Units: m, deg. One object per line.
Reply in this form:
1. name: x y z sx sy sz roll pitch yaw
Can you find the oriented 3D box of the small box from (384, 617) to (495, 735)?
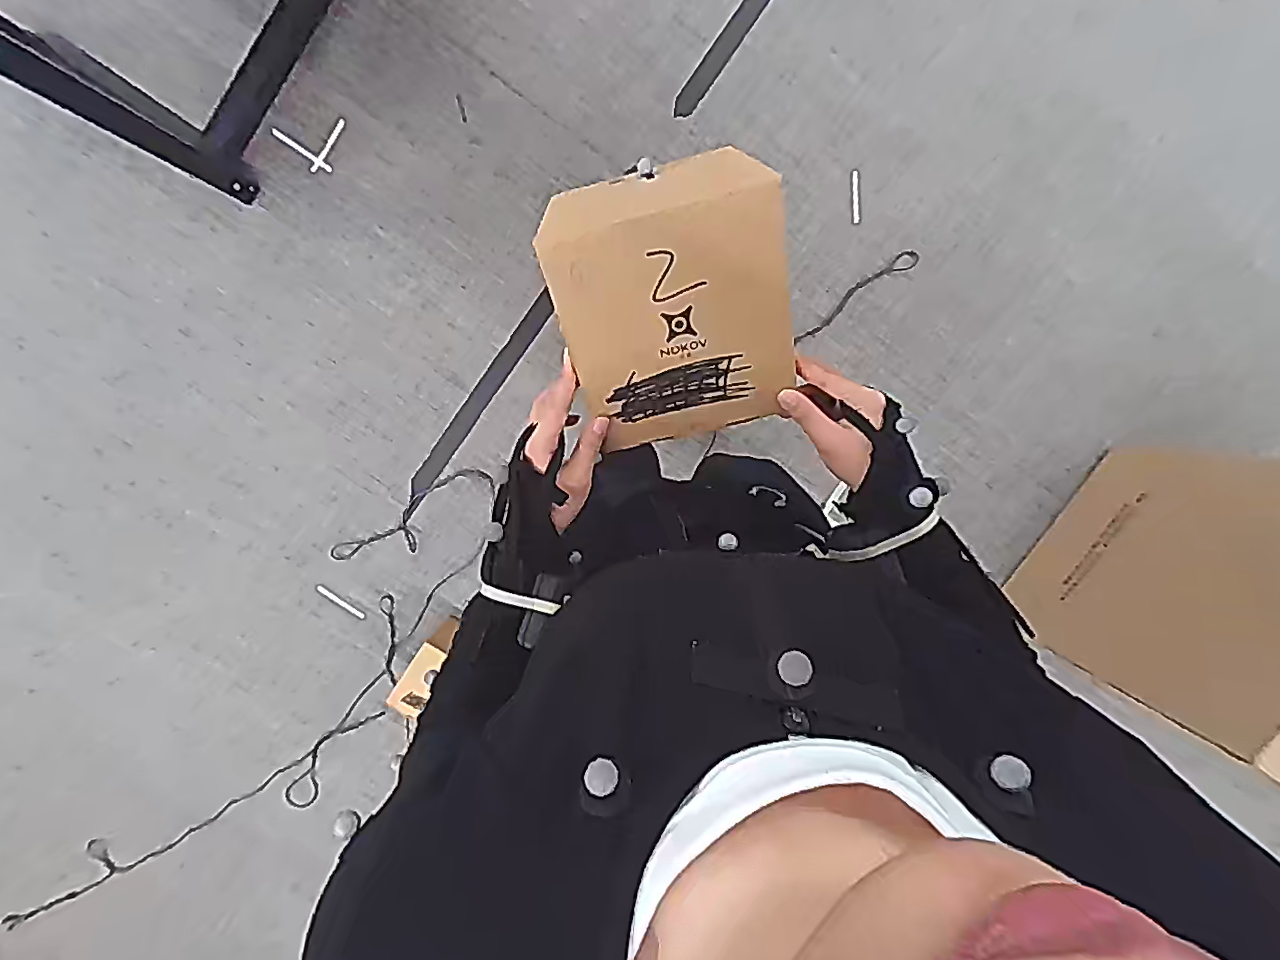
1. small box: -0.475 0.468 1.316 0.168 0.176 0.179 34 94 -6
